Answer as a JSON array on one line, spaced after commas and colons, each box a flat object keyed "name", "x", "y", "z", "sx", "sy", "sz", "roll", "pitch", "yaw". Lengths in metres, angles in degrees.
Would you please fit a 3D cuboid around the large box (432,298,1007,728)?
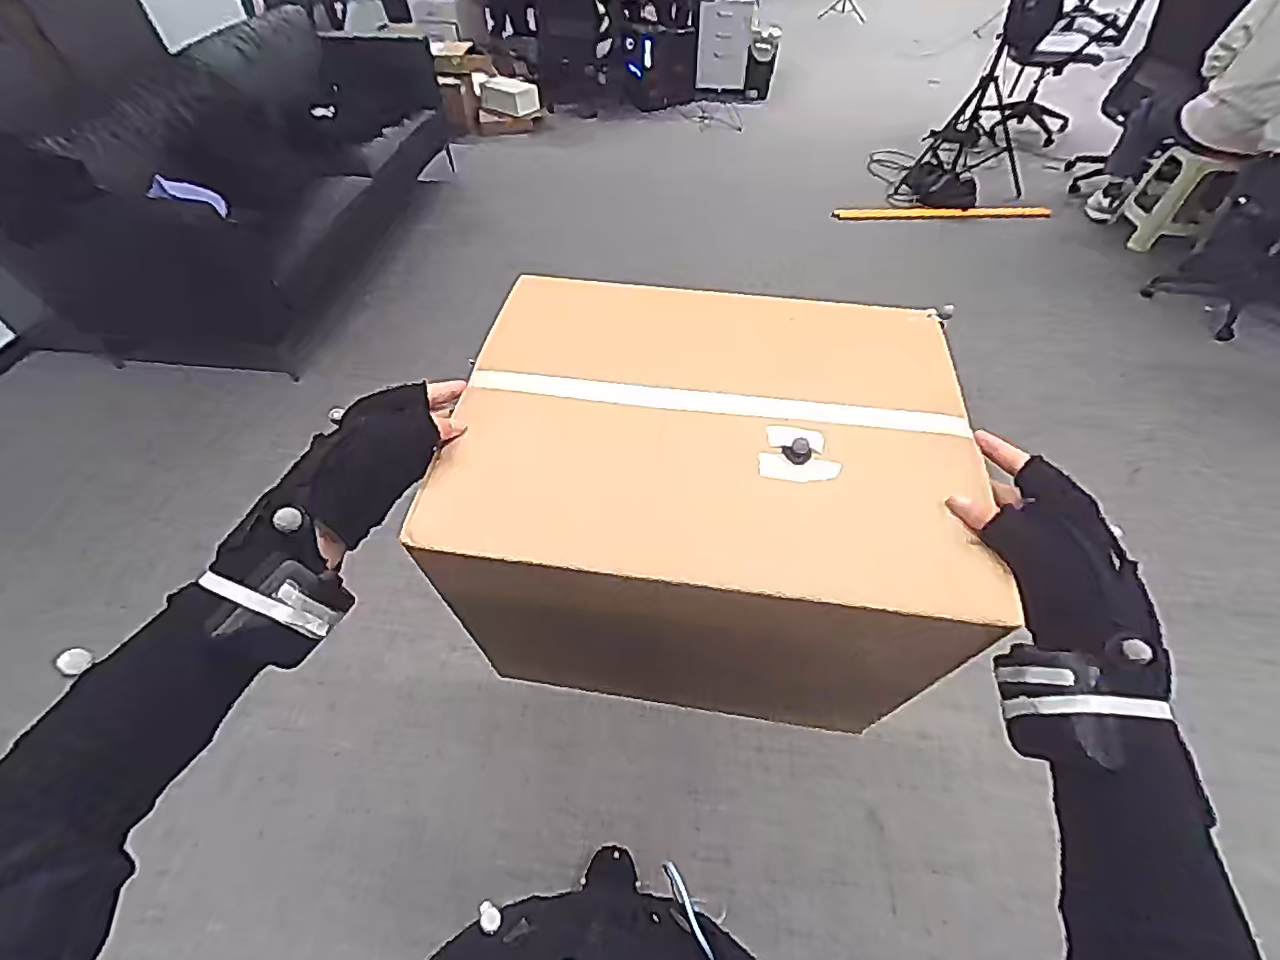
[{"name": "large box", "x": 0.063, "y": 0.042, "z": 0.574, "sx": 0.408, "sy": 0.320, "sz": 0.320, "roll": 7, "pitch": 54, "yaw": 4}]
